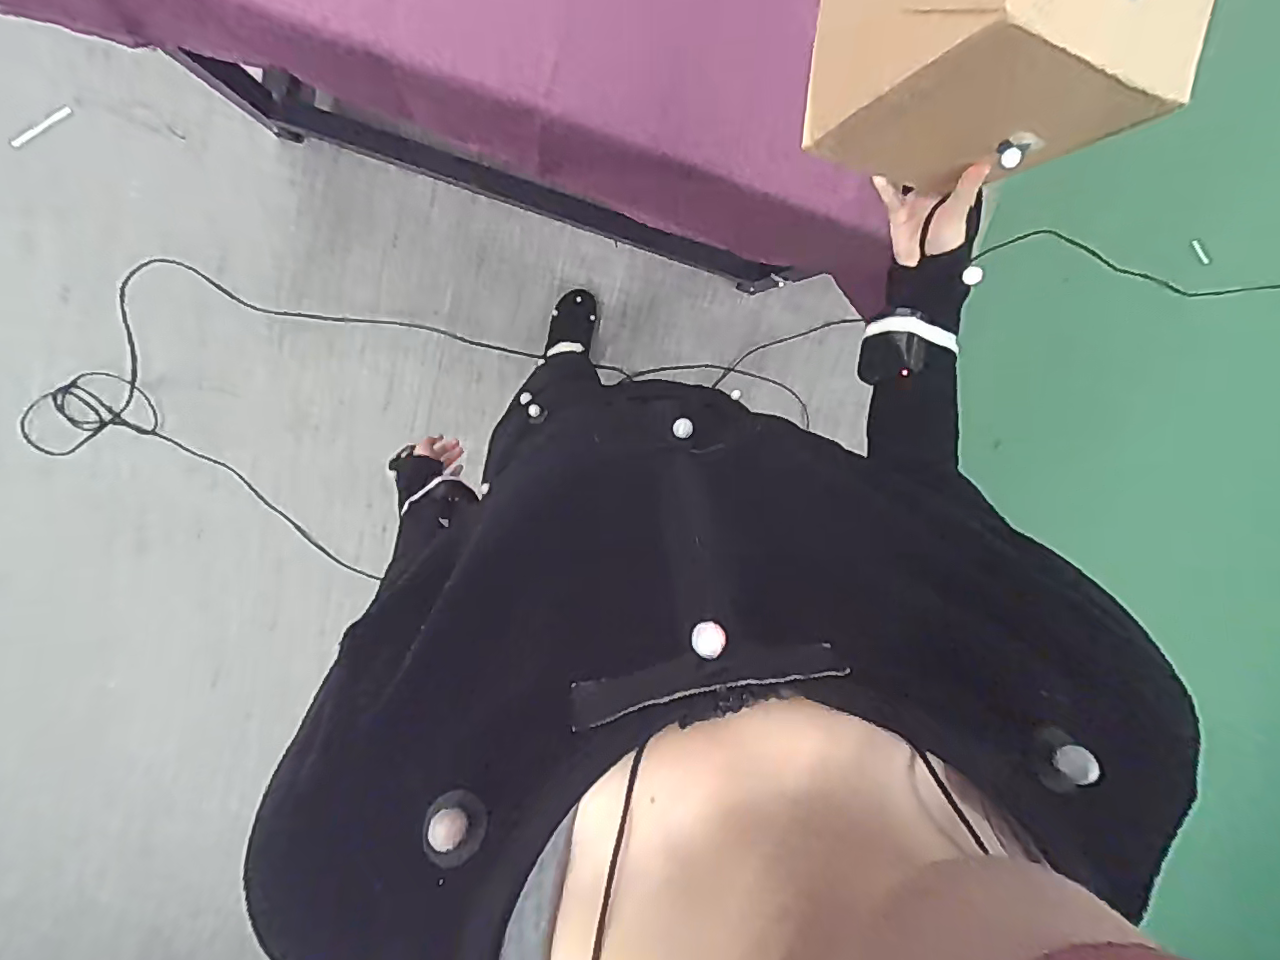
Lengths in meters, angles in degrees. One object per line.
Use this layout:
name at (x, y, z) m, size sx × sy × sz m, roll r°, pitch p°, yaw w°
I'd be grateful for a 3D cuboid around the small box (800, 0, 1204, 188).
small box at (0.237, -0.334, 0.372) m, size 0.176 × 0.179 × 0.168 m, roll 4°, pitch 97°, yaw -20°
